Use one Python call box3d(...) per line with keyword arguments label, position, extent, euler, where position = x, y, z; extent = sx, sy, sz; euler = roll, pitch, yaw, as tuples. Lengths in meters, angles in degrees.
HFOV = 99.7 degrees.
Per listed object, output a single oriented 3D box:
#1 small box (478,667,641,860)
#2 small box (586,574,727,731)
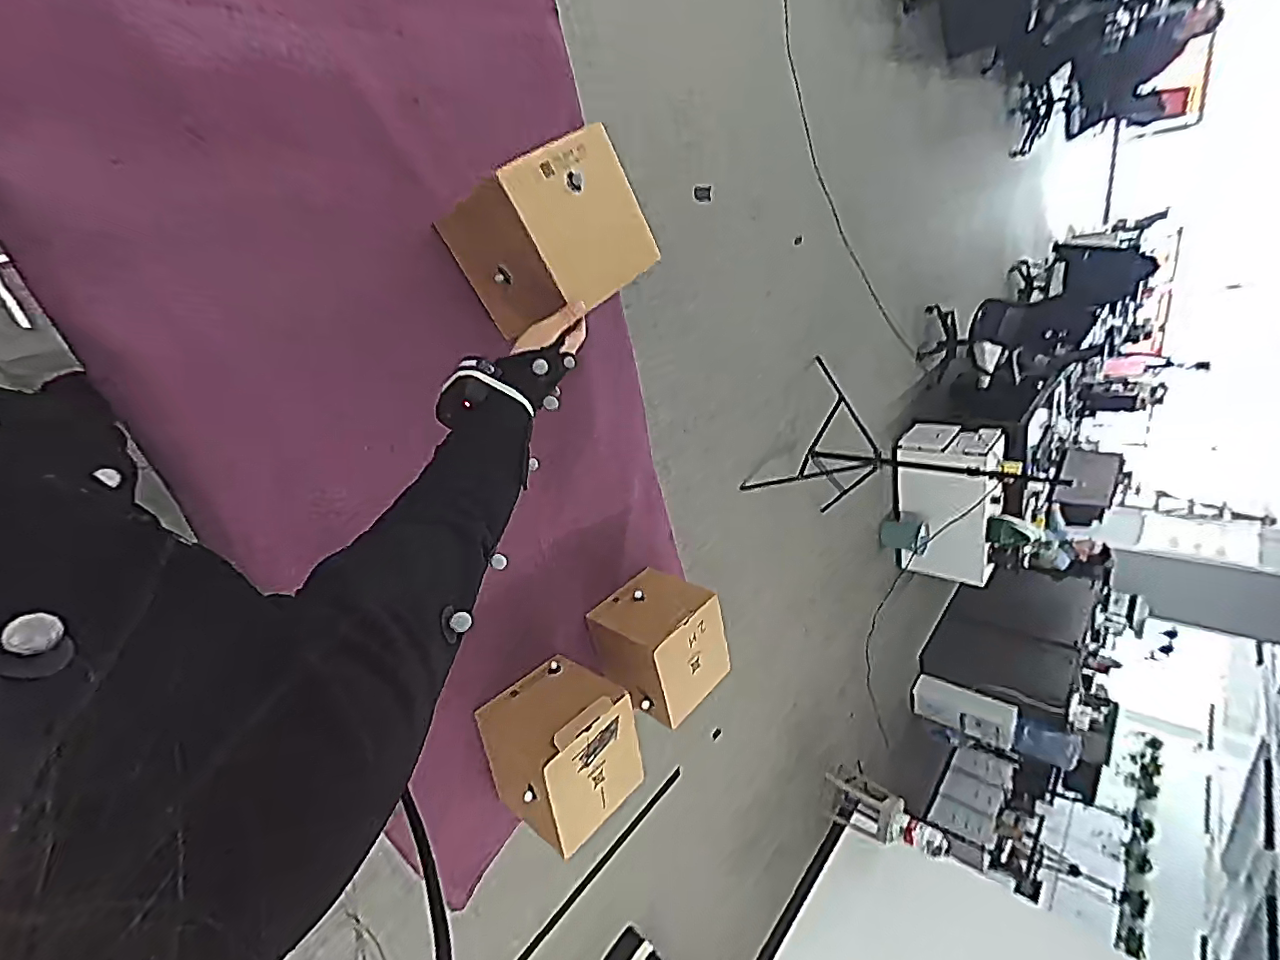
box3d(label="small box", position=(-0.123, 0.410, 0.824), extent=(0.168, 0.176, 0.179), euler=(-26, 115, -42))
box3d(label="small box", position=(0.030, 0.294, 0.961), extent=(0.168, 0.176, 0.179), euler=(-31, 119, -37))
